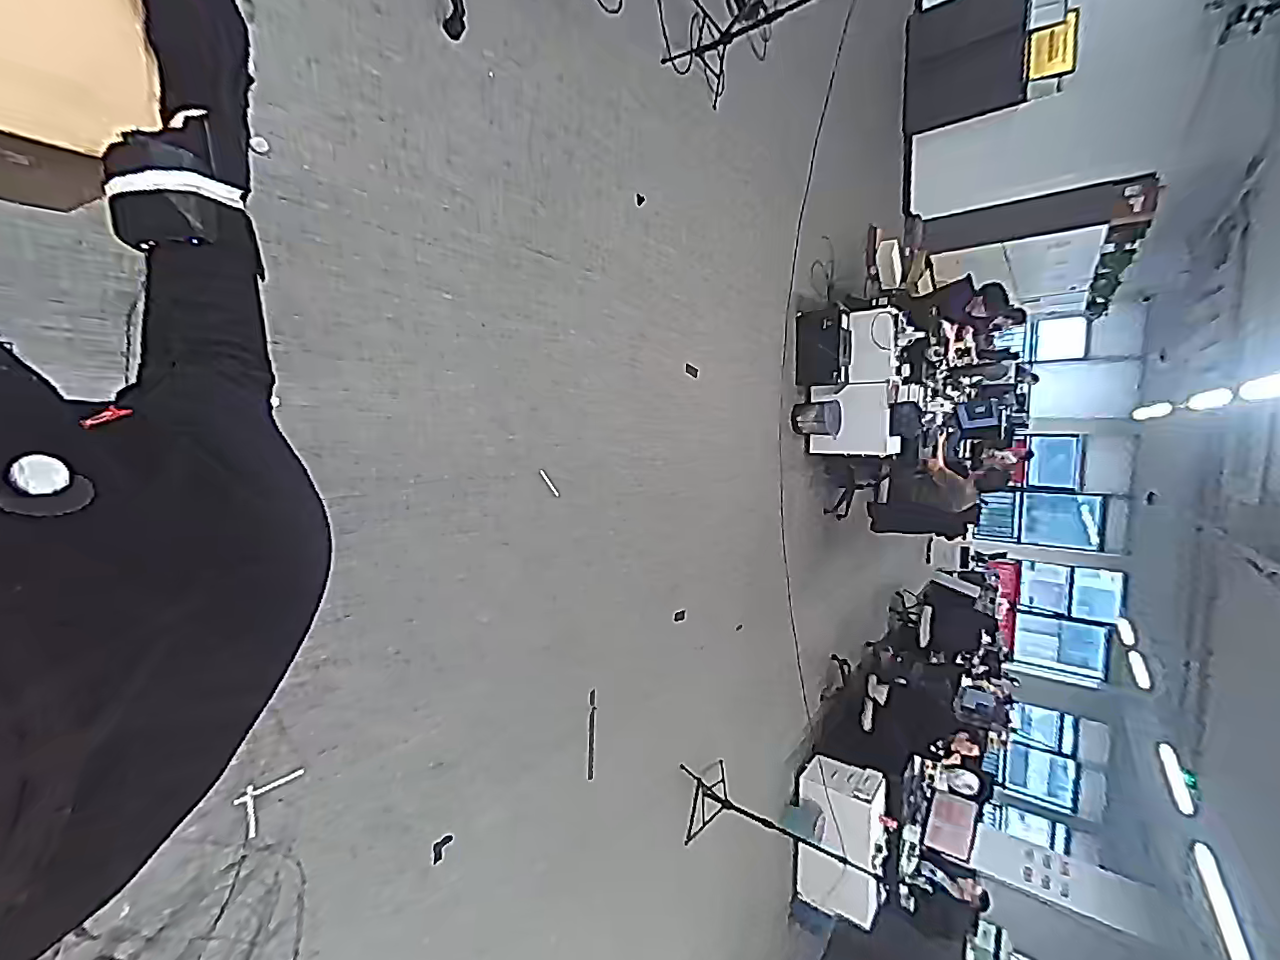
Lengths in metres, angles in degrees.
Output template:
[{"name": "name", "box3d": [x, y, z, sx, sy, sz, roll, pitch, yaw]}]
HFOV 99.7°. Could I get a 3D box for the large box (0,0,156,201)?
[{"name": "large box", "box3d": [-0.585, -0.389, 0.296, 0.408, 0.320, 0.320, -9, 109, -55]}]
